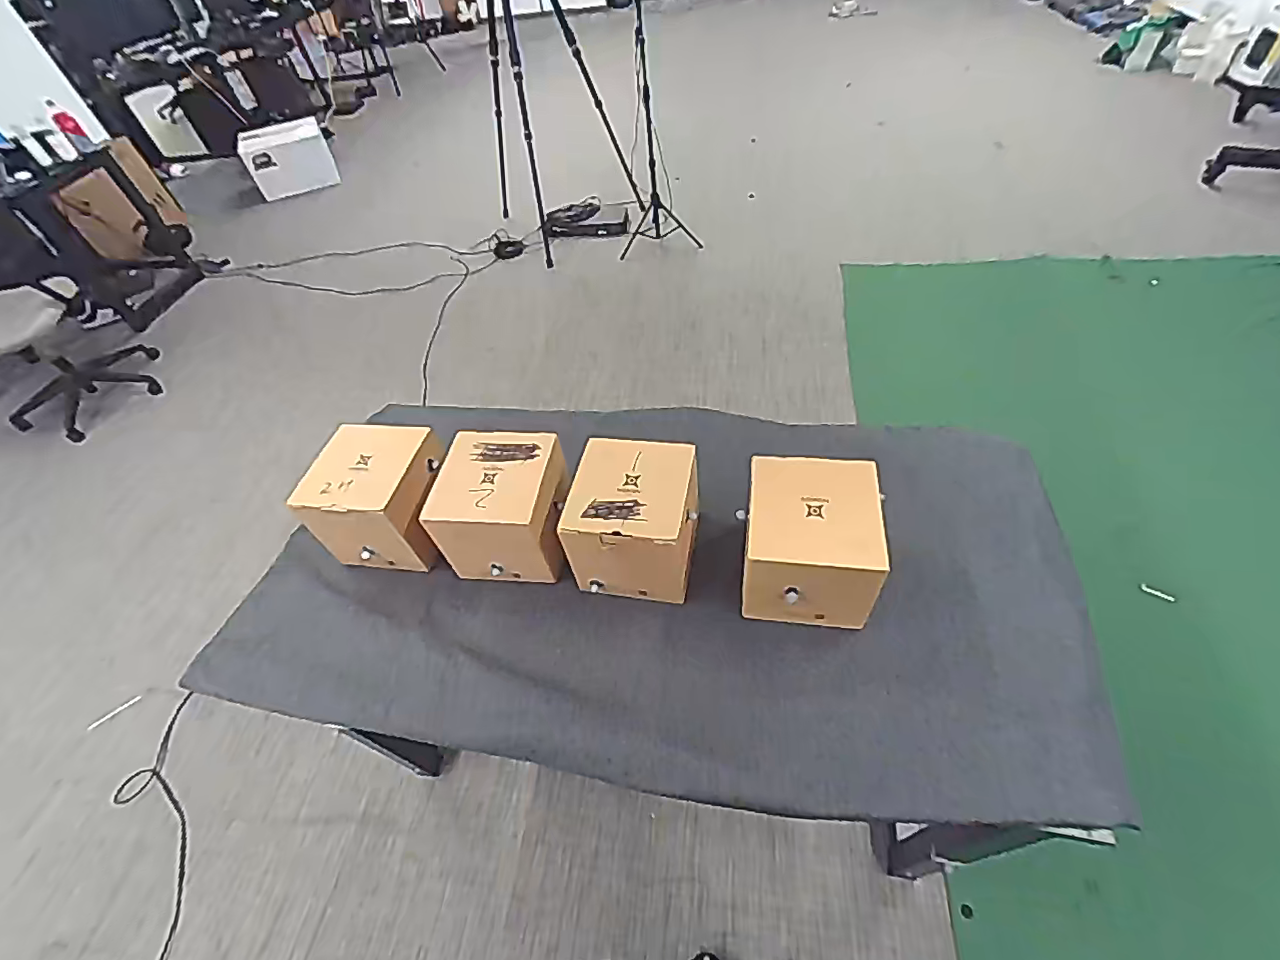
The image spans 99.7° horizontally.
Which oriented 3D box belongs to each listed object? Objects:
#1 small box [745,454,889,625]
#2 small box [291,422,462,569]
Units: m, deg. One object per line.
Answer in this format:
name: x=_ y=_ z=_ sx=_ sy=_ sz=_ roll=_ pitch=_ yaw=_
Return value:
small box: x=0.236 y=0.085 z=0.756 sx=0.168 sy=0.176 sz=0.179 roll=3 pitch=51 yaw=11
small box: x=-0.419 y=0.025 z=0.899 sx=0.168 sy=0.176 sz=0.179 roll=3 pitch=51 yaw=11
